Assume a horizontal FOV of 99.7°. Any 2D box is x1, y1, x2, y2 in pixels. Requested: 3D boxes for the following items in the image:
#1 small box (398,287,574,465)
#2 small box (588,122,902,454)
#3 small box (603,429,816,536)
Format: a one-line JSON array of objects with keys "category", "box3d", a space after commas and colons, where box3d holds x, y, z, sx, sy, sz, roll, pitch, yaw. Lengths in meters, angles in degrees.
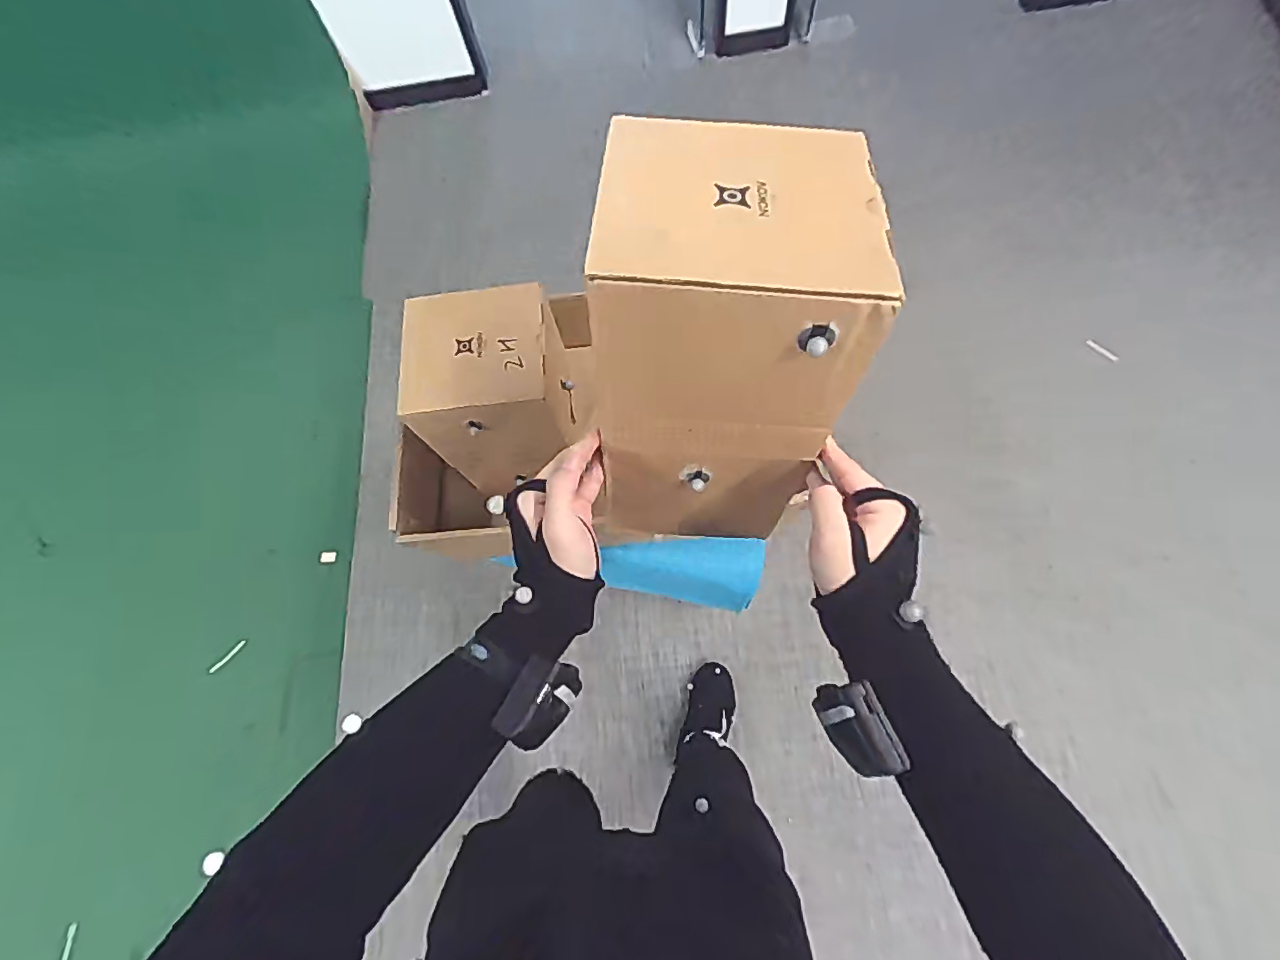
[{"category": "small box", "box3d": [-0.192, -0.127, 0.719, 0.179, 0.176, 0.168, -6, 70, 2]}, {"category": "small box", "box3d": [0.061, -0.133, 0.404, 0.179, 0.176, 0.168, 4, 59, 0]}, {"category": "small box", "box3d": [0.058, -0.052, 0.545, 0.179, 0.176, 0.168, 3, 59, -1]}]
